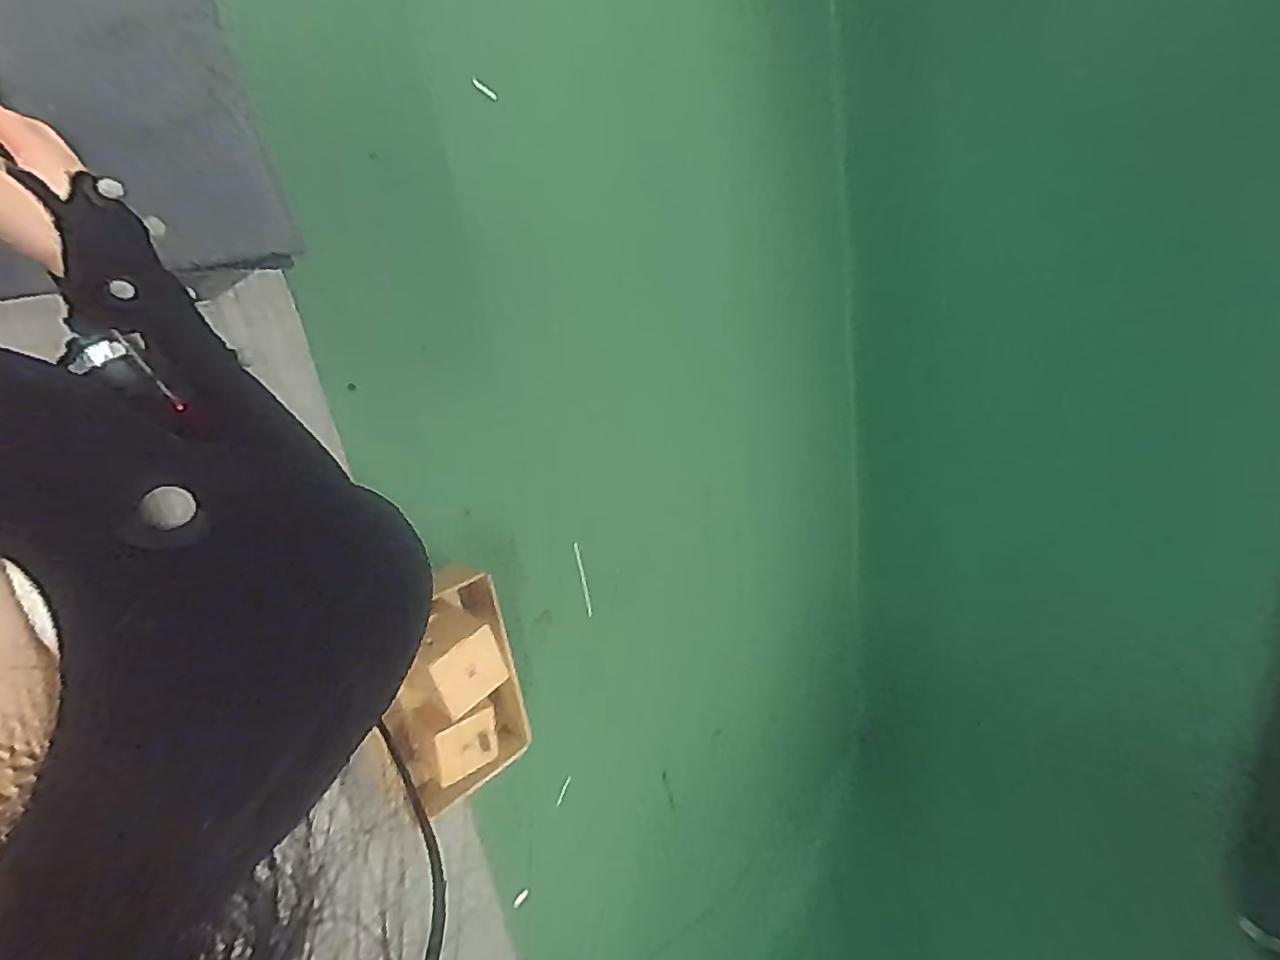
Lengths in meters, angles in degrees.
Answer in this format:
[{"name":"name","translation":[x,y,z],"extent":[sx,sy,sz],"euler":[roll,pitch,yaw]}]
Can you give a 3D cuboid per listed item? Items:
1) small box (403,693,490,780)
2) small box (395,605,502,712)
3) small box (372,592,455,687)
[{"name":"small box","translation":[-0.559,0.713,1.563],"extent":[0.179,0.176,0.168],"euler":[-15,106,-44]},{"name":"small box","translation":[-0.483,0.435,1.357],"extent":[0.168,0.176,0.179],"euler":[-34,122,-37]},{"name":"small box","translation":[-0.602,0.421,1.470],"extent":[0.168,0.176,0.179],"euler":[-22,111,-42]}]
